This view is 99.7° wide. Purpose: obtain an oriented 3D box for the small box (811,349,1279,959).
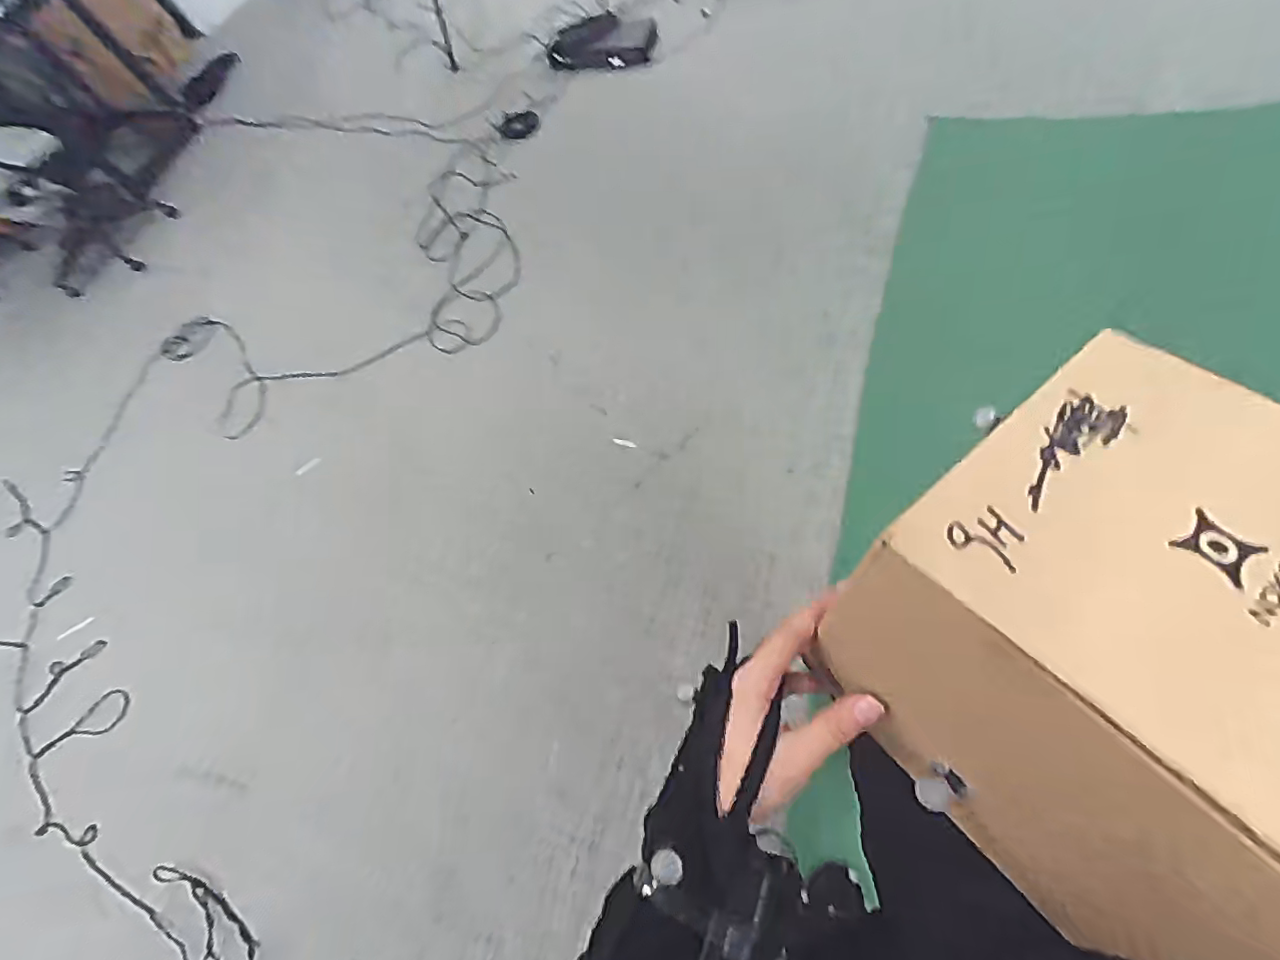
[{"bbox_3d":[0.211,0.080,0.255,0.168,0.176,0.179,-34,61,-17],"label":"small box"}]
